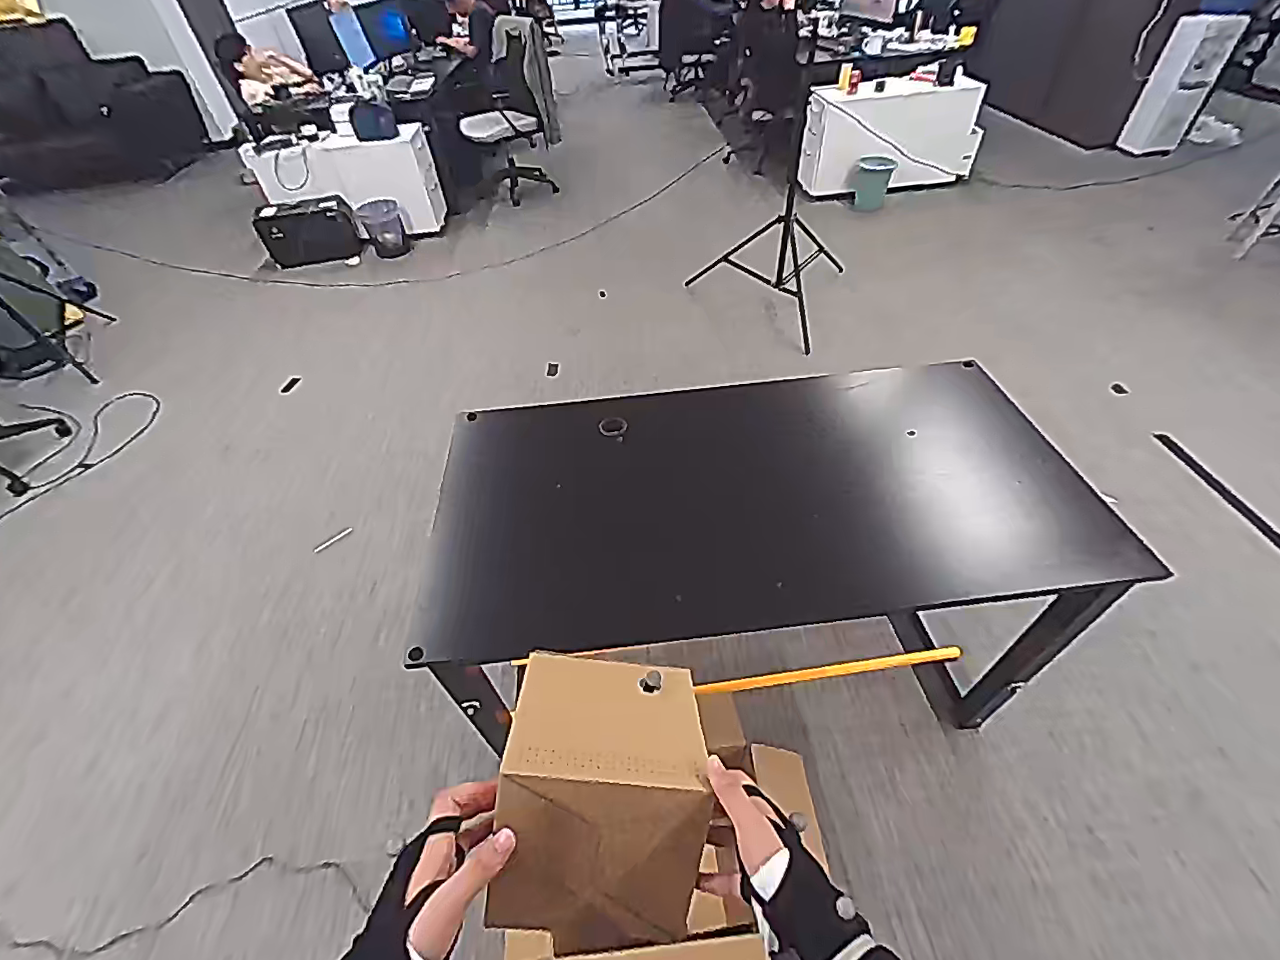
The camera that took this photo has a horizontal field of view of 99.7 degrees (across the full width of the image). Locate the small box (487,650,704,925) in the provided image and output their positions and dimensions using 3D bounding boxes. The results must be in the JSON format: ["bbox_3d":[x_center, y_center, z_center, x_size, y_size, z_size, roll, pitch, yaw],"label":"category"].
[{"bbox_3d":[-0.040,0.291,0.527,0.179,0.168,0.176,7,16,-5],"label":"small box"}]
